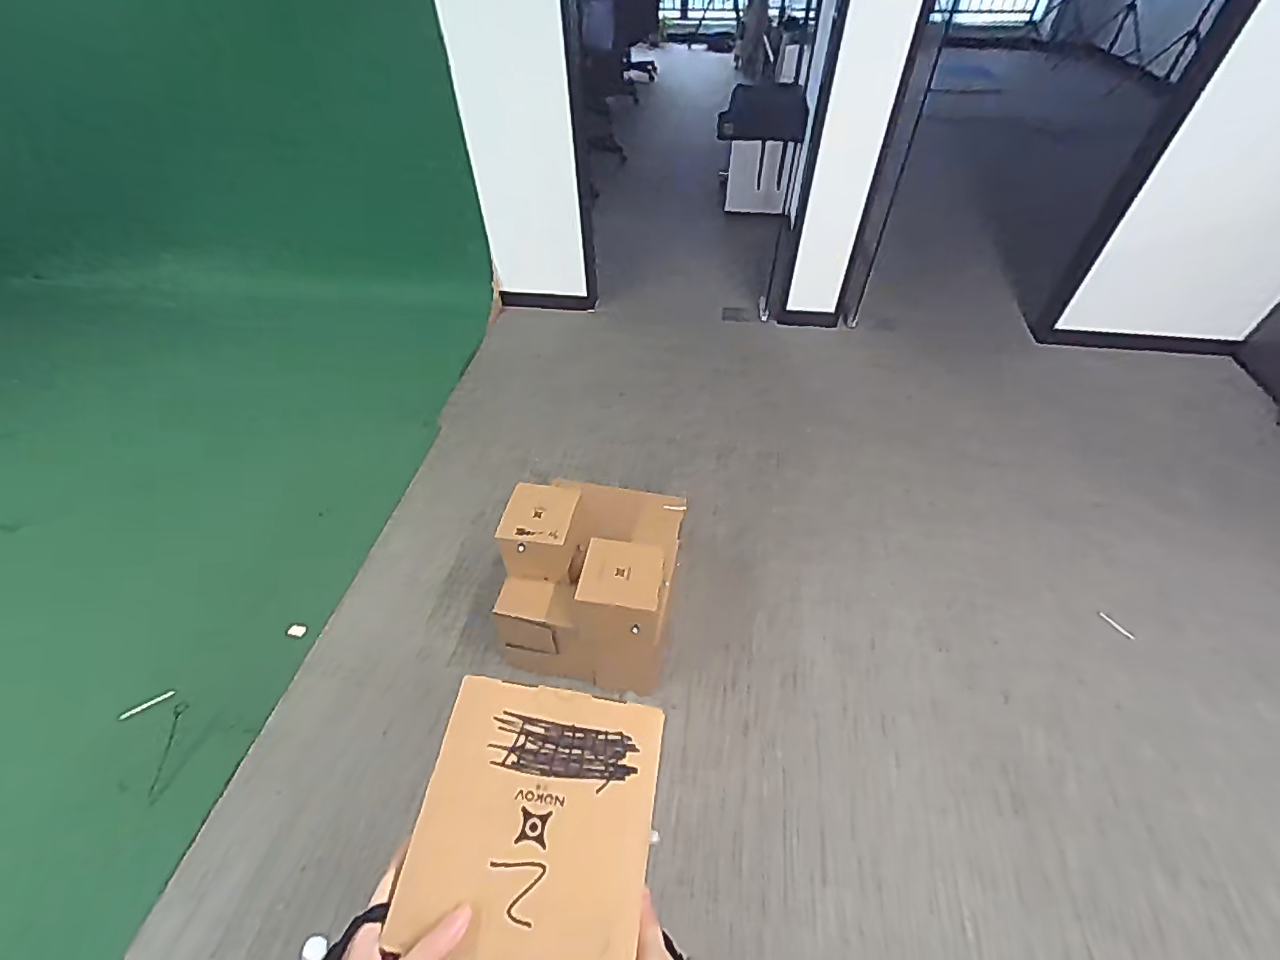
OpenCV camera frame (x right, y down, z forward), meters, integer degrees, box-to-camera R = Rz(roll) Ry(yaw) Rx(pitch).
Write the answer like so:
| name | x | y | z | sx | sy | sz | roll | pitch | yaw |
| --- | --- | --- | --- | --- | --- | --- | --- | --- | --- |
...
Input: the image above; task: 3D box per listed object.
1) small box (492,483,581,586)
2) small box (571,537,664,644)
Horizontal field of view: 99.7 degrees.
| name | x | y | z | sx | sy | sz | roll | pitch | yaw |
| --- | --- | --- | --- | --- | --- | --- | --- | --- | --- |
| small box | -0.244 | 0.134 | 1.331 | 0.168 | 0.176 | 0.179 | 7 | 46 | 7 |
| small box | -0.044 | 0.253 | 1.219 | 0.179 | 0.176 | 0.168 | 6 | 47 | 6 |
